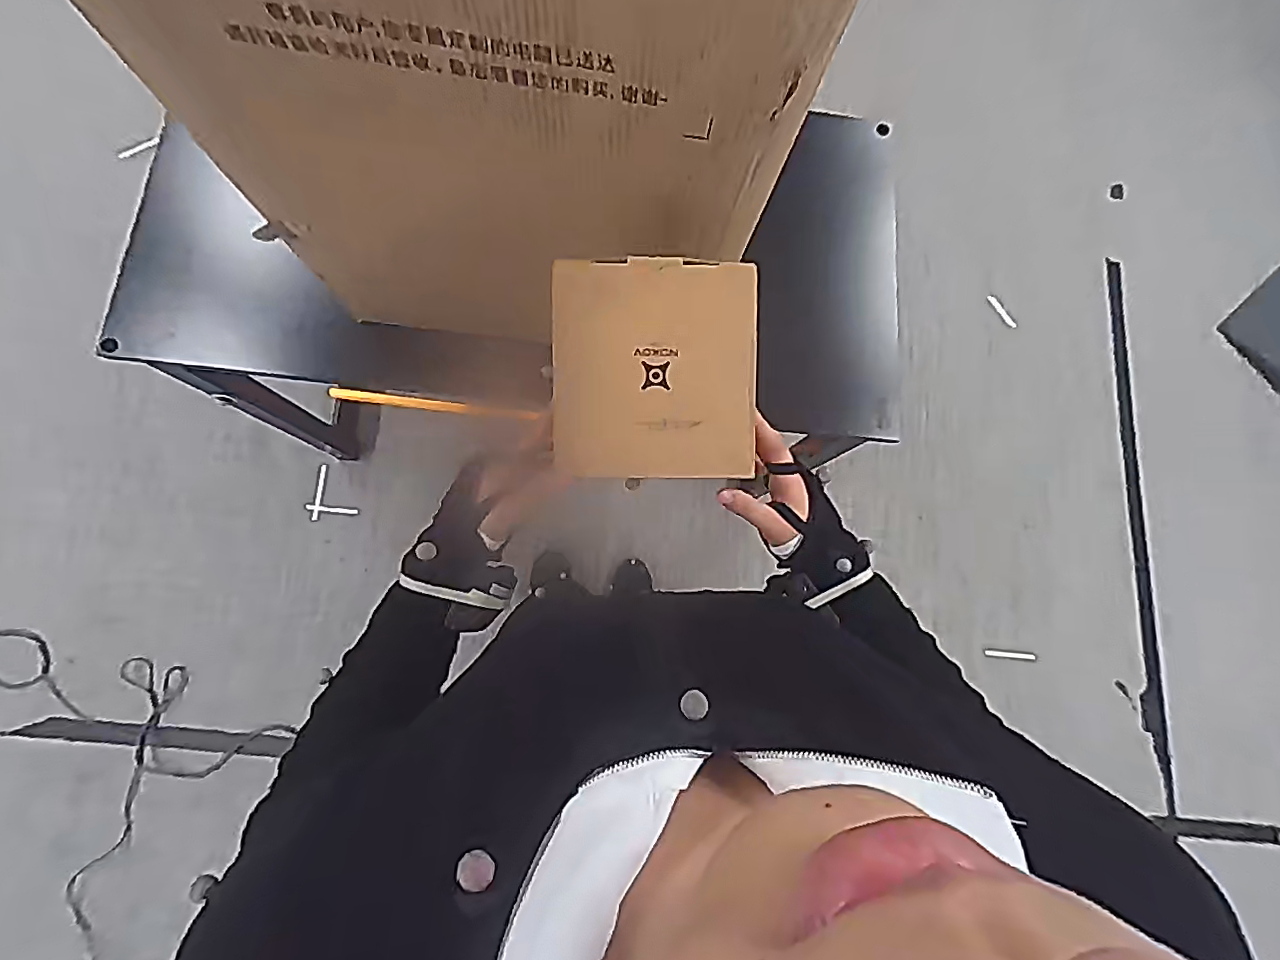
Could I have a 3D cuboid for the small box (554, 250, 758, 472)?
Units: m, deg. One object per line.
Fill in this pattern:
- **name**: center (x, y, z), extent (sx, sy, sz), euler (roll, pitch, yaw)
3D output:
- **small box**: center (0.008, -0.096, 0.513), extent (0.168, 0.176, 0.179), euler (0, 92, -3)
